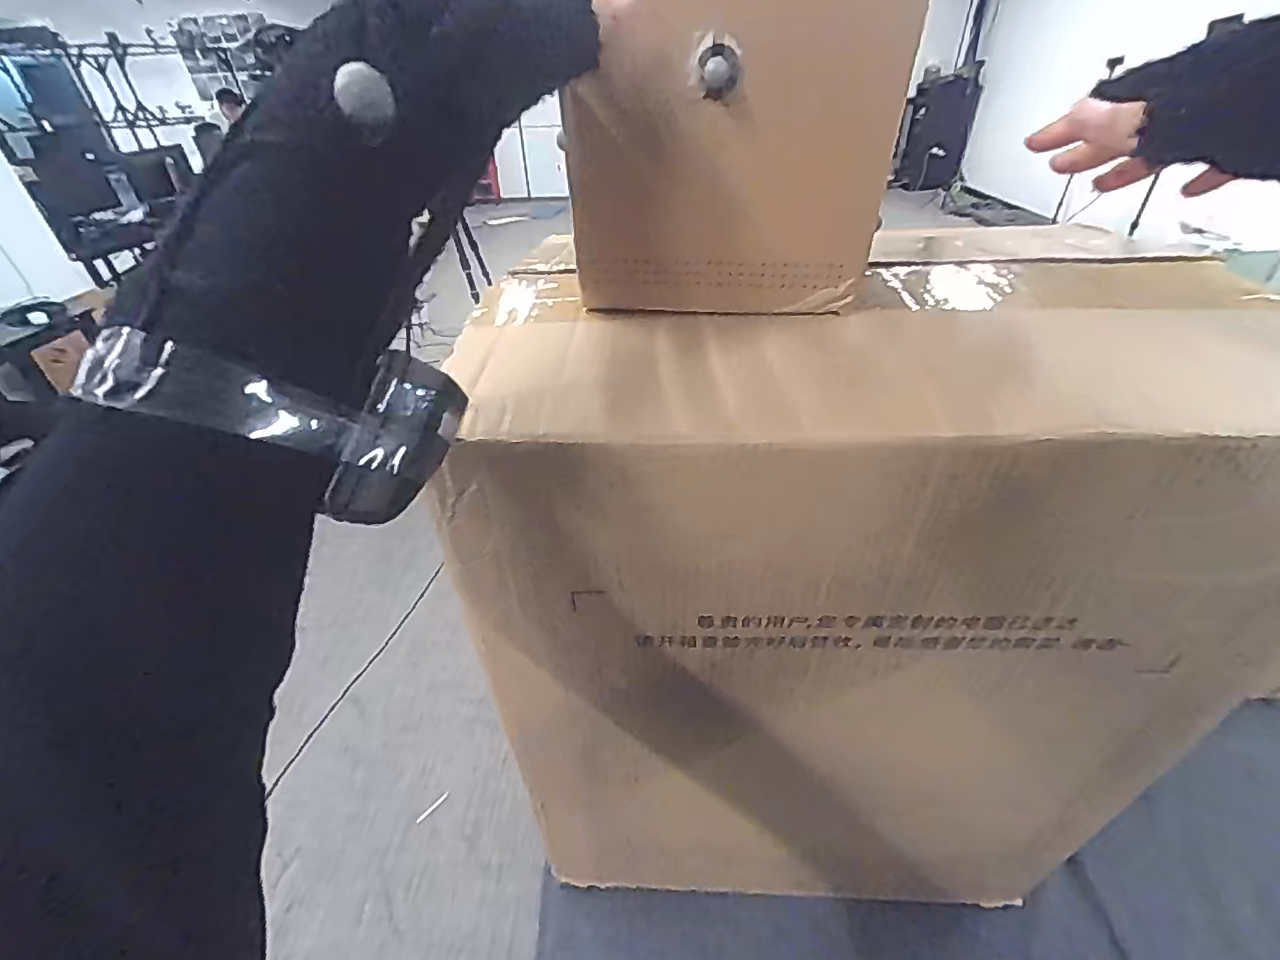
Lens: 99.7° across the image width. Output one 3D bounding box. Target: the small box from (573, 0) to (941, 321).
[{"bbox_3d":[0.067,-0.218,0.358,0.179,0.176,0.168,5,42,7],"label":"small box"}]
